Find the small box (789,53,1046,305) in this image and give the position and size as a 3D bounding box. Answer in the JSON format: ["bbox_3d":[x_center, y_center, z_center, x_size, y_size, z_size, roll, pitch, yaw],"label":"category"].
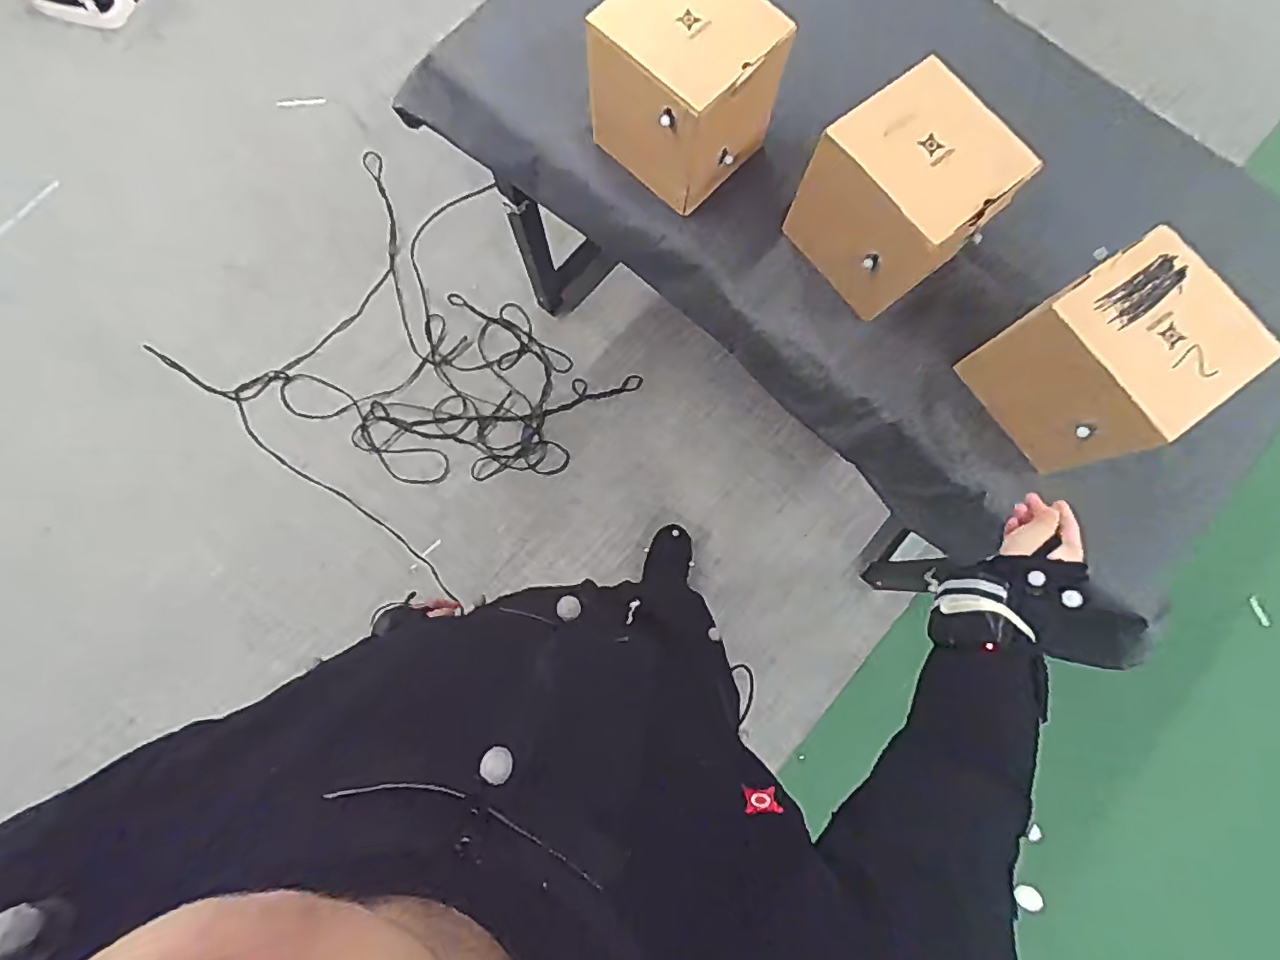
[{"bbox_3d":[0.311,-0.338,0.647,0.168,0.176,0.179,-38,81,-8],"label":"small box"}]

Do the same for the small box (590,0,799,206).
[{"bbox_3d":[0.057,-0.489,0.672,0.179,0.176,0.168,43,81,6],"label":"small box"}]
